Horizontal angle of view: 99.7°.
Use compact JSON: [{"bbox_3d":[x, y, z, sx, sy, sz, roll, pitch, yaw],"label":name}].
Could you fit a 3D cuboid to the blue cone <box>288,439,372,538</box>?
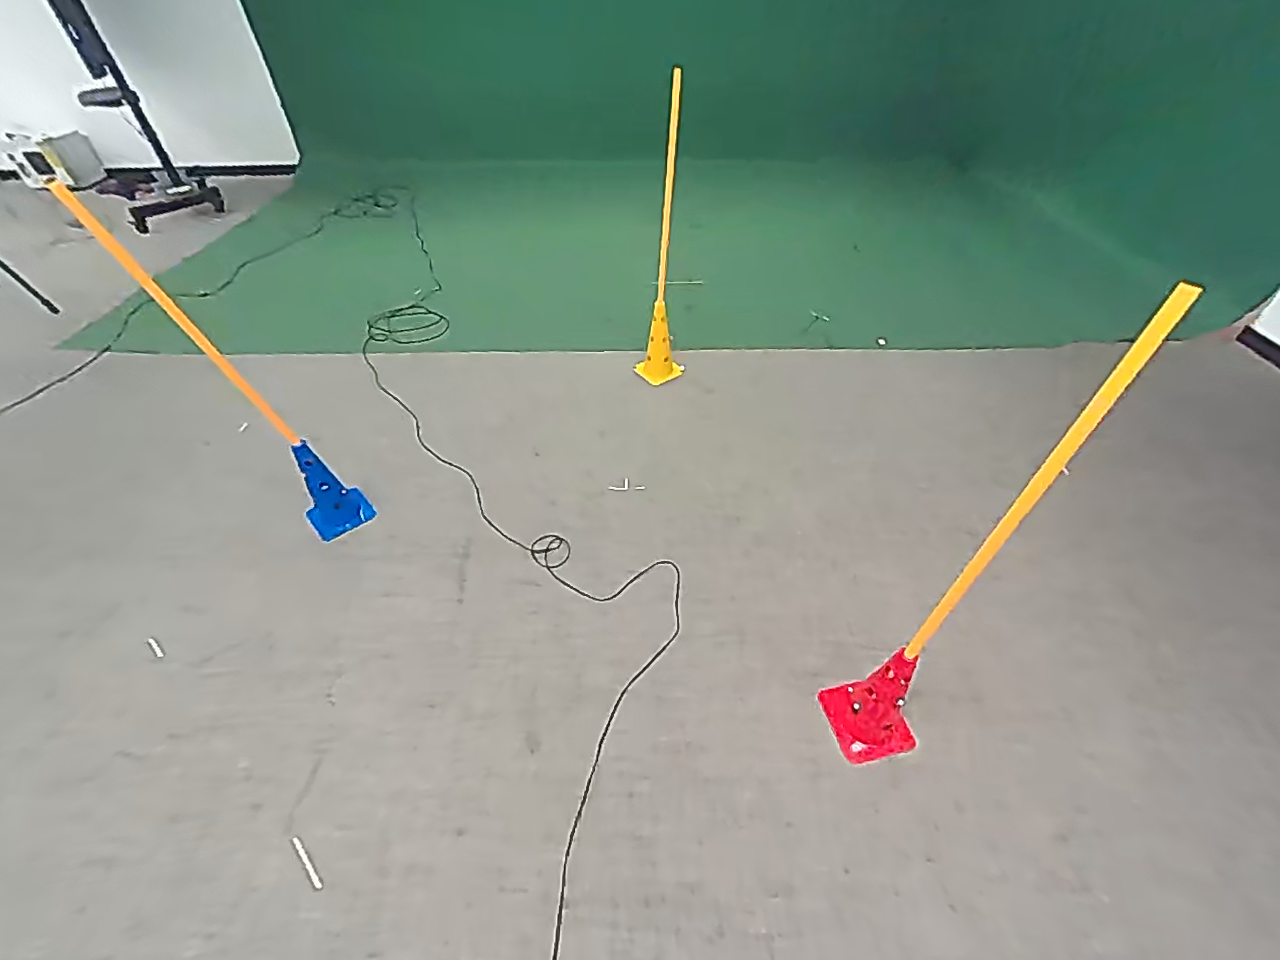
[{"bbox_3d":[-1.113,0.011,1.882,0.193,0.380,0.192,-36,55,-27],"label":"blue cone"}]
